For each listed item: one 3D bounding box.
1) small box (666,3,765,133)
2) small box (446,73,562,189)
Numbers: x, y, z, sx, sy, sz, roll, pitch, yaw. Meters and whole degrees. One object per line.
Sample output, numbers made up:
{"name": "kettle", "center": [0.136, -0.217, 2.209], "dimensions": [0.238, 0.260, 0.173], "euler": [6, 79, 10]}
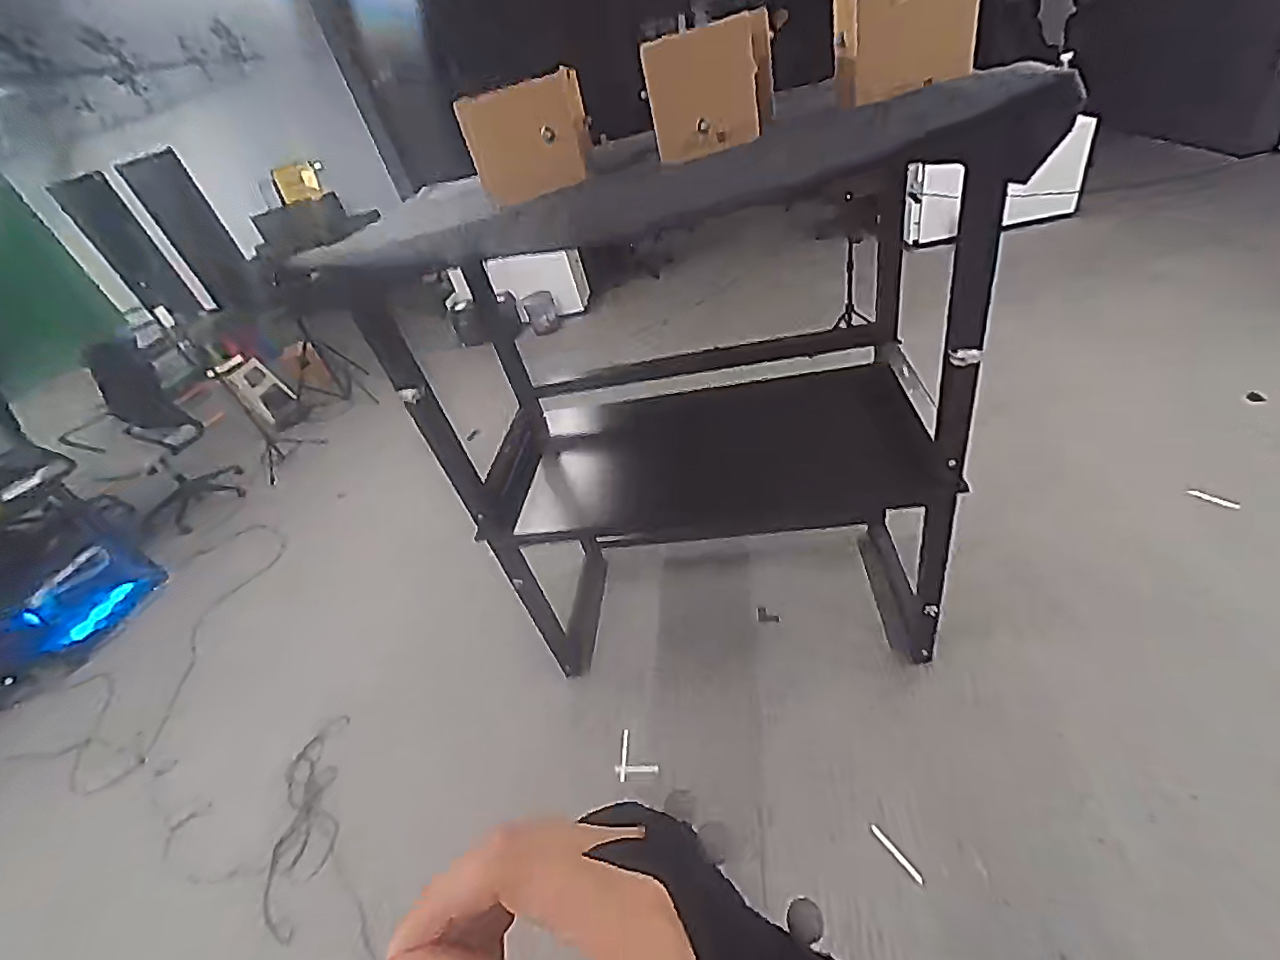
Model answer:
{"name": "small box", "center": [0.153, -0.806, 1.068], "dimensions": [0.168, 0.176, 0.179], "euler": [-7, 38, 14]}
{"name": "small box", "center": [-0.280, -0.744, 1.161], "dimensions": [0.168, 0.176, 0.179], "euler": [-7, 38, 12]}
